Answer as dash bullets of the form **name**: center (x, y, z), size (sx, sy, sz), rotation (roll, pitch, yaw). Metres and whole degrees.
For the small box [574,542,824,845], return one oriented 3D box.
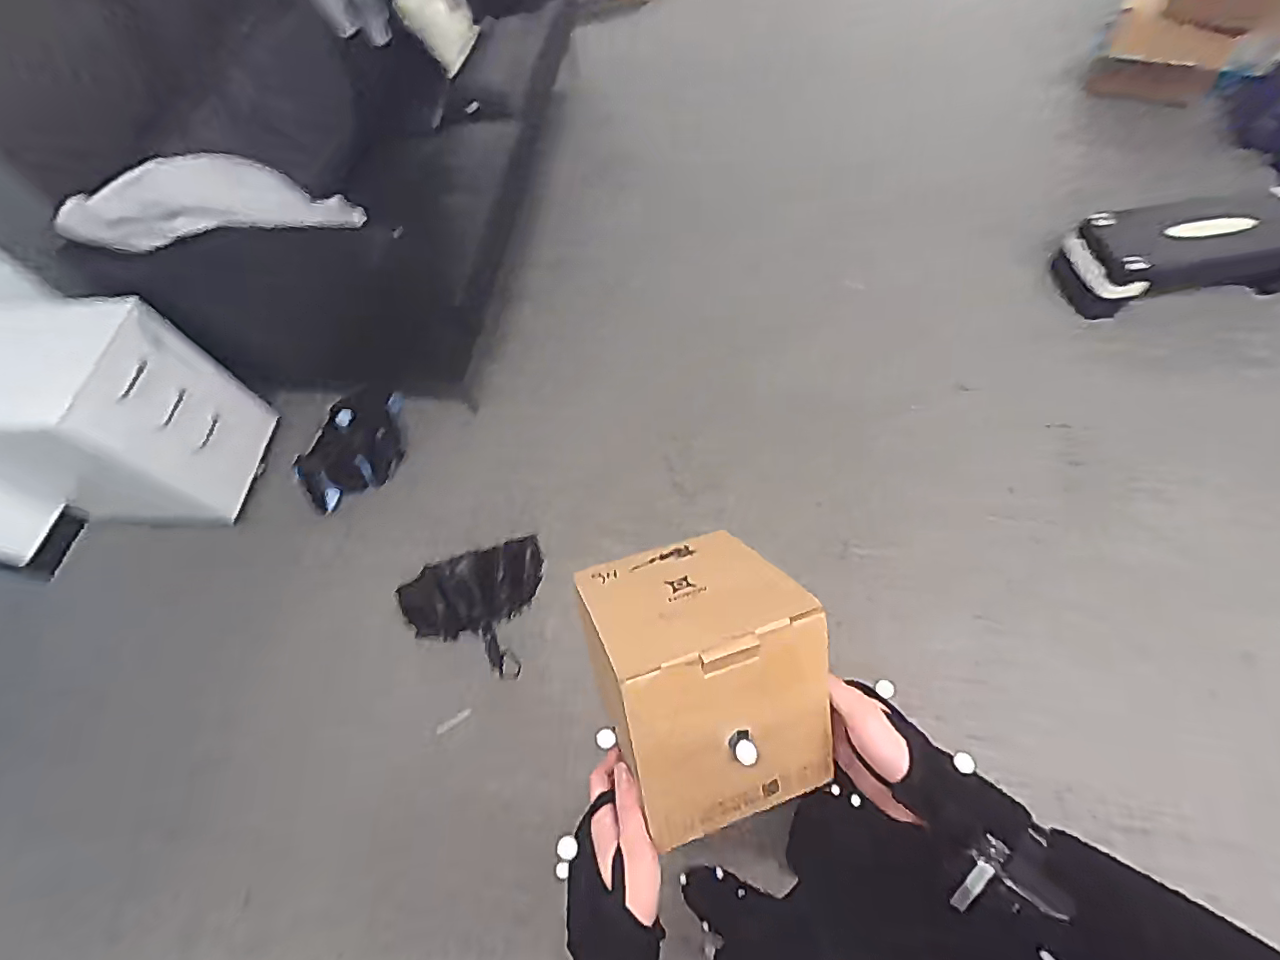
- **small box**: center (0.047, 0.180, 0.480), size (0.168, 0.176, 0.179), rotation (-12, 19, -13)
